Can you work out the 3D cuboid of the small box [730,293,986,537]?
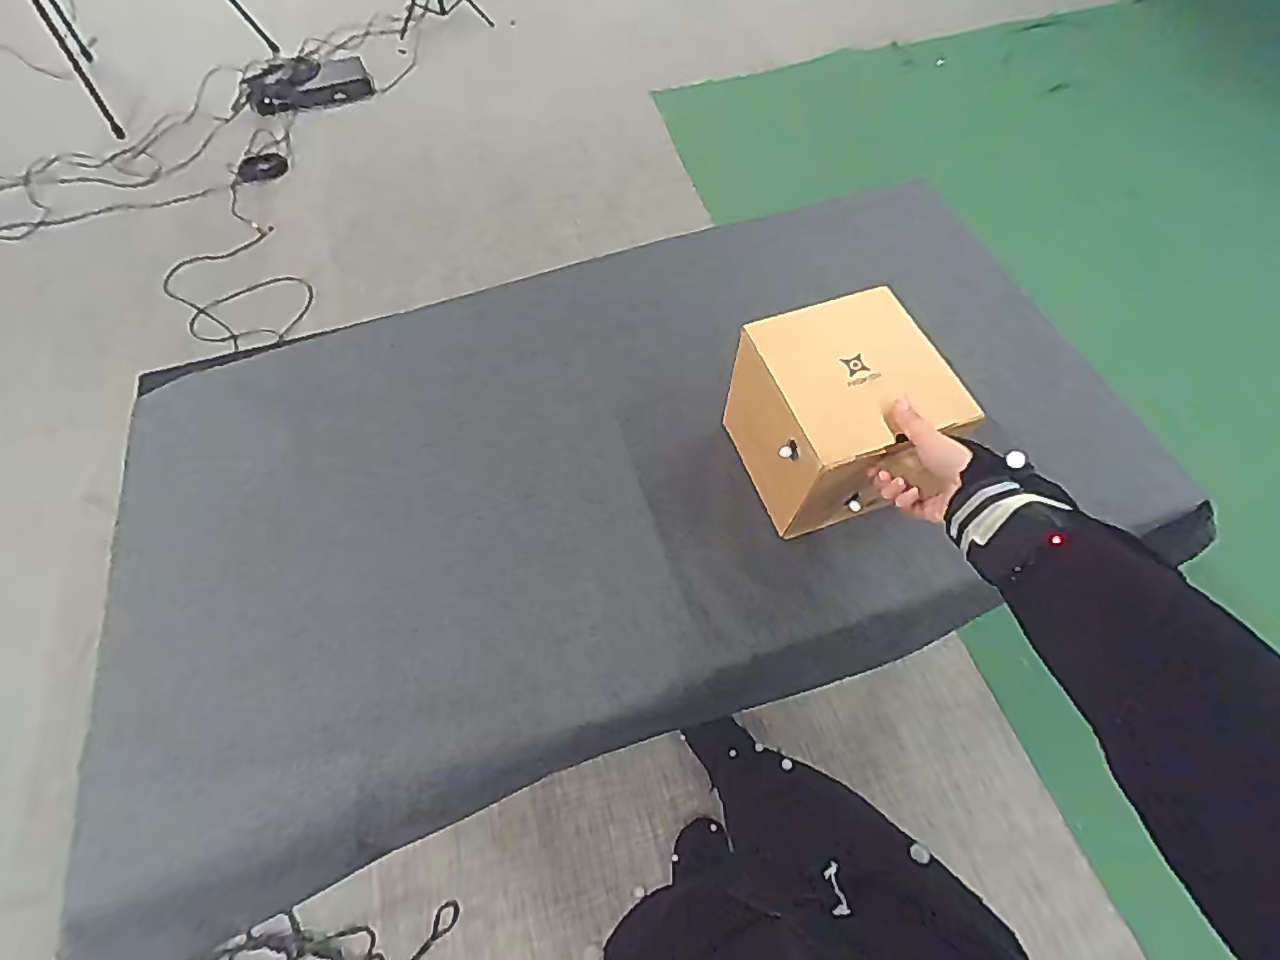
[{"bbox_3d":[0.210,-0.064,0.584,0.168,0.176,0.179,-17,63,-9],"label":"small box"}]
